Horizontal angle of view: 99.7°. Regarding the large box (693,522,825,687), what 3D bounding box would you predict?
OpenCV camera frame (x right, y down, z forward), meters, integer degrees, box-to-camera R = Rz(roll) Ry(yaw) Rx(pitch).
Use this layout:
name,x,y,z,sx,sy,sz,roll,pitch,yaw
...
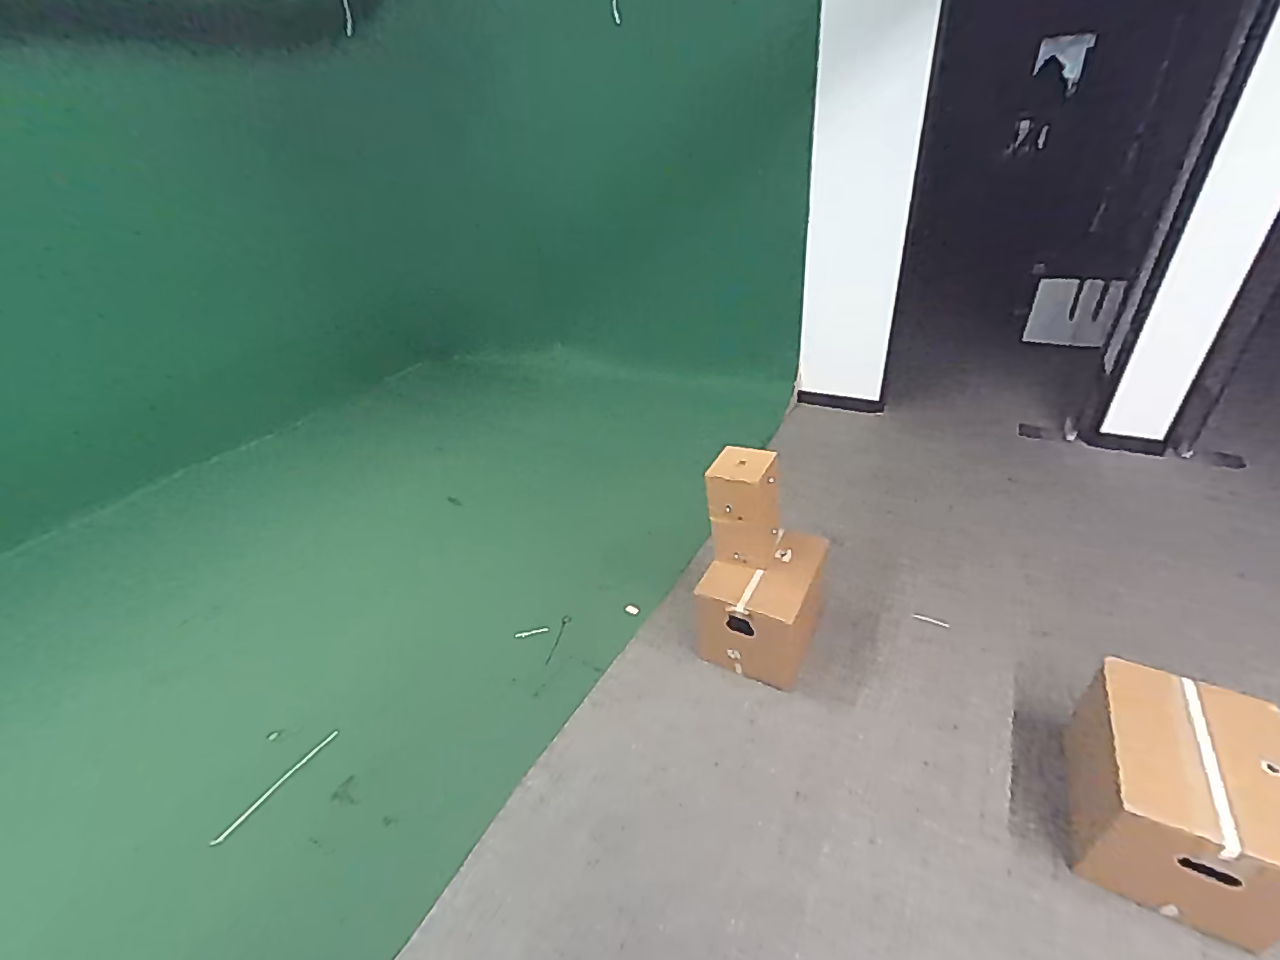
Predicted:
name,x,y,z,sx,sy,sz,roll,pitch,yaw
large box,0.406,0.397,1.805,0.320,0.320,0.408,13,38,28

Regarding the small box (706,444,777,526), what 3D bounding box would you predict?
name,x,y,z,sx,sy,sz,roll,pitch,yaw
small box,0.314,0.014,1.659,0.168,0.176,0.179,10,39,30
